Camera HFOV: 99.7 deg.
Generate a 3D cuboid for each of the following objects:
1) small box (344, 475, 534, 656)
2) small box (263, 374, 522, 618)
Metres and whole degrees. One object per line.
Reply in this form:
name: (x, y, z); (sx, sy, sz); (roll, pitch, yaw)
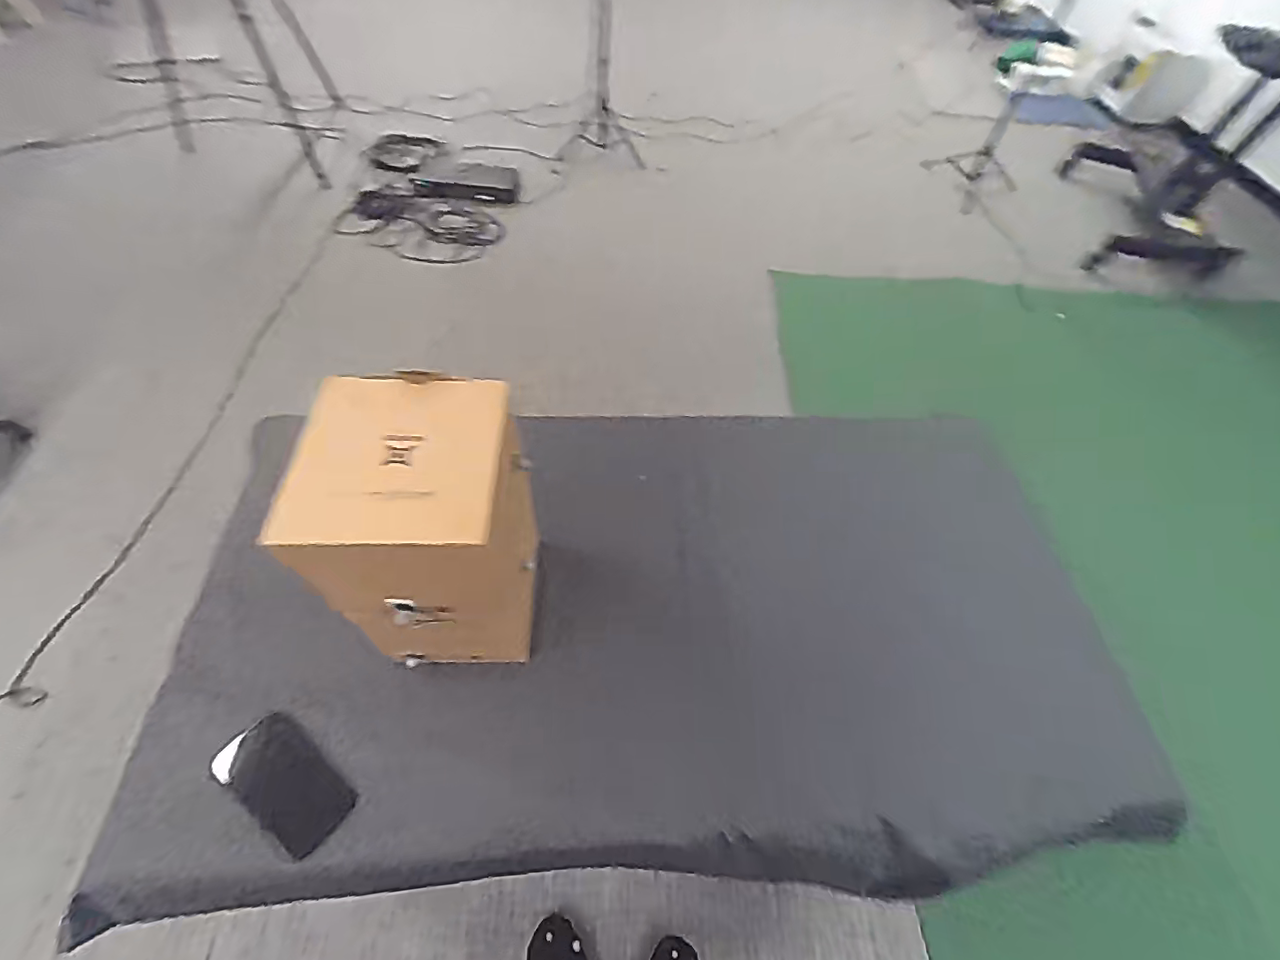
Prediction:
small box: (-0.223, 0.107, 0.657); (0.168, 0.176, 0.179); (1, 55, -4)
small box: (-0.210, 0.020, 0.521); (0.168, 0.176, 0.179); (0, 57, -4)
